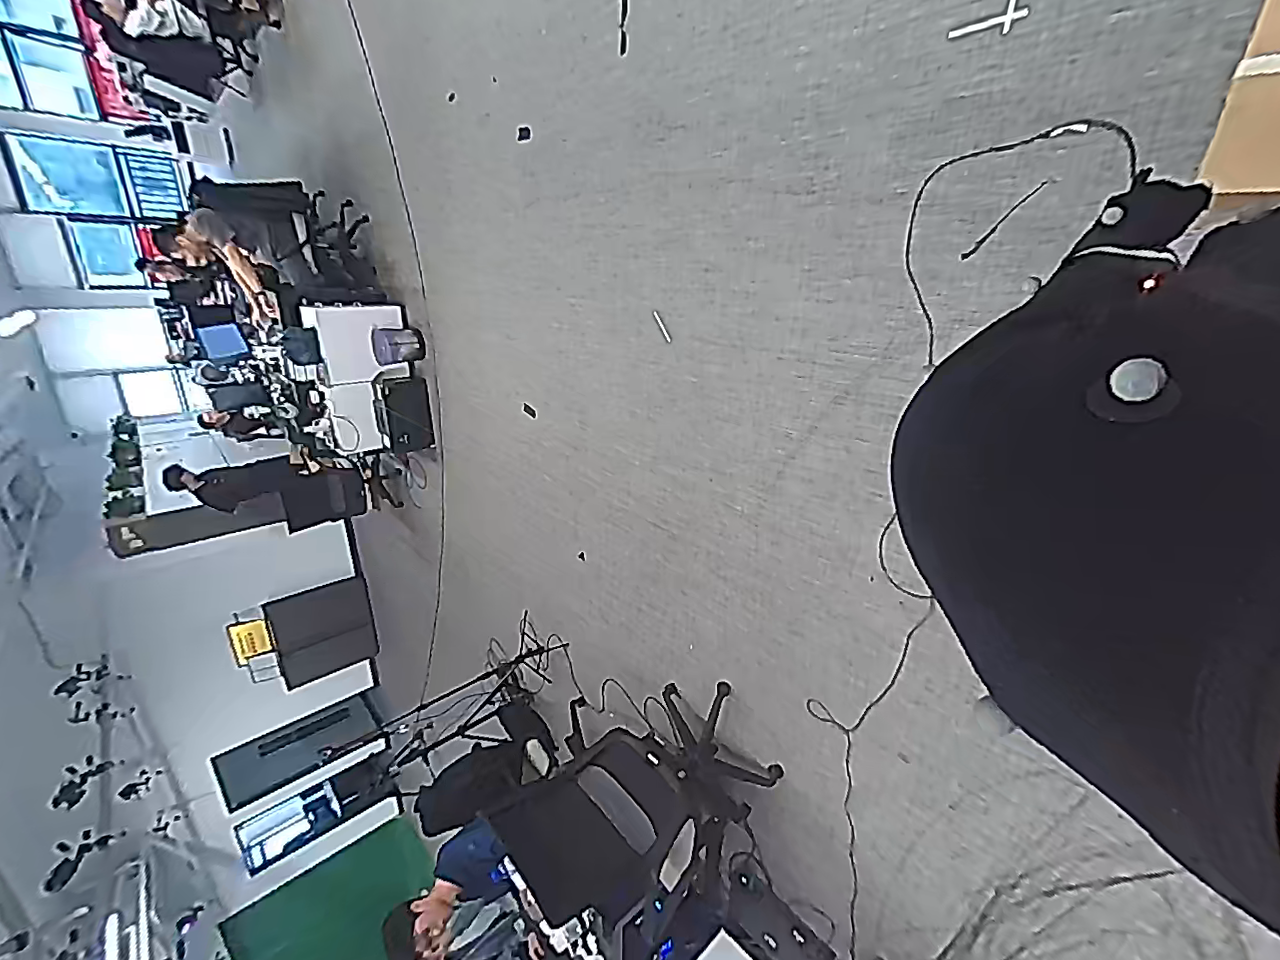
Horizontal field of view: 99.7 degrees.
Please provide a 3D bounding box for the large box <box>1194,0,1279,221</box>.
[{"bbox_3d":[1.081,-0.535,0.724,0.408,0.320,0.320,25,121,41],"label":"large box"}]
